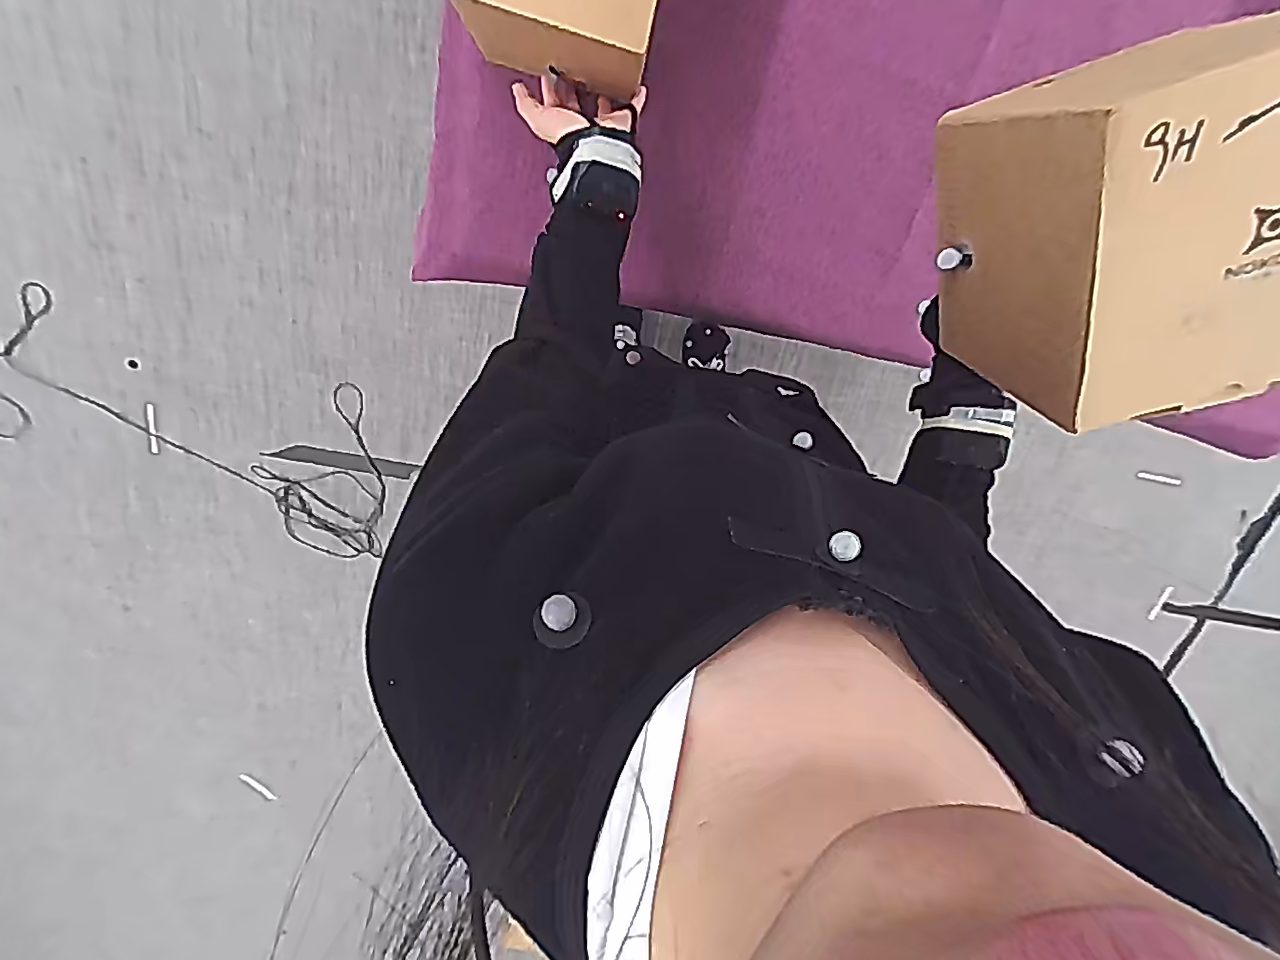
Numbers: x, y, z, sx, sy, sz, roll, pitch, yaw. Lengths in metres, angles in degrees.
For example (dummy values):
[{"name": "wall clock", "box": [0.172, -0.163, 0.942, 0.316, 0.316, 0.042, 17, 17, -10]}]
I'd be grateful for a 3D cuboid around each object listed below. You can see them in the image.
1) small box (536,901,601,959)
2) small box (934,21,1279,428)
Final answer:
[{"name": "small box", "box": [-0.231, 1.504, 1.744, 0.179, 0.176, 0.168, 18, 109, -10]}, {"name": "small box", "box": [0.310, -0.163, 0.345, 0.168, 0.176, 0.179, -16, 121, 8]}]
